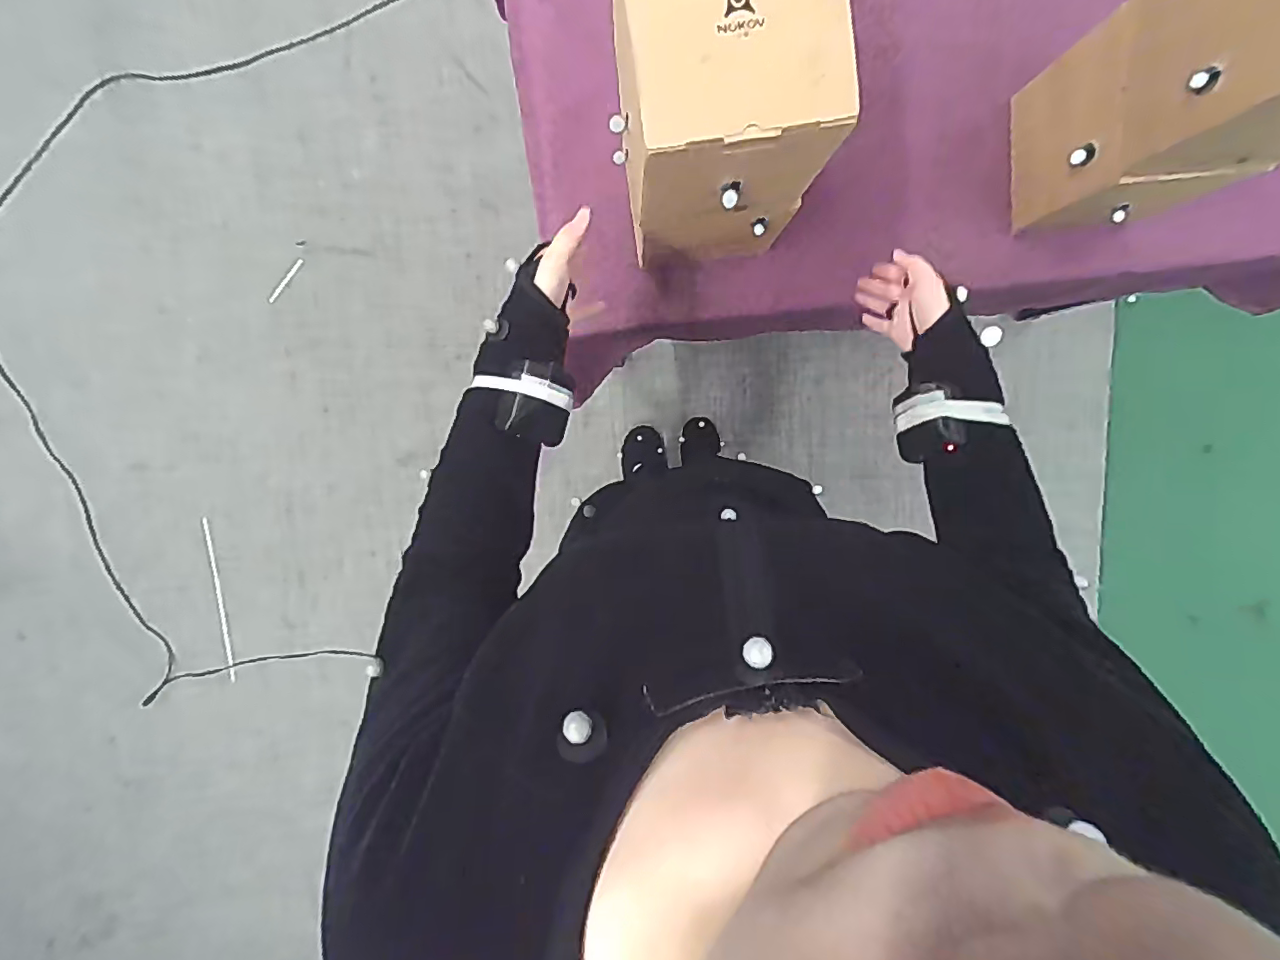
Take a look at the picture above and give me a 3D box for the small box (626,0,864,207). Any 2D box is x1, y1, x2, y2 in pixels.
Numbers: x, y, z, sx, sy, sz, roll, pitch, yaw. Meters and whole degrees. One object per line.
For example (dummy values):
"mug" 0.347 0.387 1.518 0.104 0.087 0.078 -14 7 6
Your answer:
"small box" 0.079 -0.364 0.481 0.168 0.176 0.179 -8 96 0

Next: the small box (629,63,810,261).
"small box" 0.085 -0.377 0.645 0.179 0.176 0.168 -8 95 1

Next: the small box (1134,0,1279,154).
"small box" 0.584 -0.408 0.470 0.168 0.176 0.179 -3 95 1

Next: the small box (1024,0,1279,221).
"small box" 0.587 -0.420 0.633 0.168 0.176 0.179 -5 95 1
